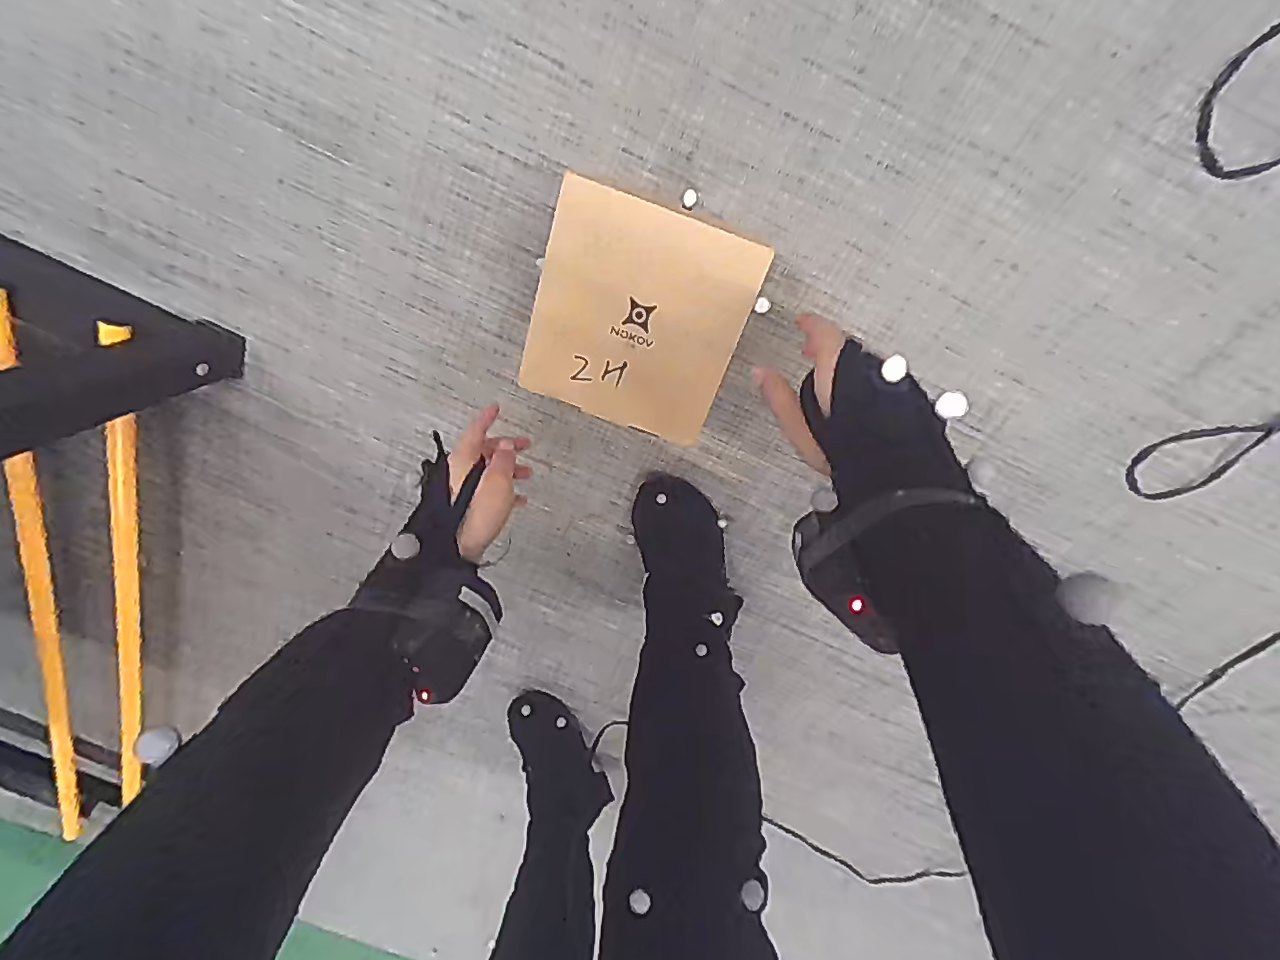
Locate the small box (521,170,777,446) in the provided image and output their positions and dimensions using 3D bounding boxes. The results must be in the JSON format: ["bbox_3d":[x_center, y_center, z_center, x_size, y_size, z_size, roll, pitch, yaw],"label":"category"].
[{"bbox_3d":[0.008,-0.163,0.507,0.168,0.176,0.179,20,118,-2],"label":"small box"}]
